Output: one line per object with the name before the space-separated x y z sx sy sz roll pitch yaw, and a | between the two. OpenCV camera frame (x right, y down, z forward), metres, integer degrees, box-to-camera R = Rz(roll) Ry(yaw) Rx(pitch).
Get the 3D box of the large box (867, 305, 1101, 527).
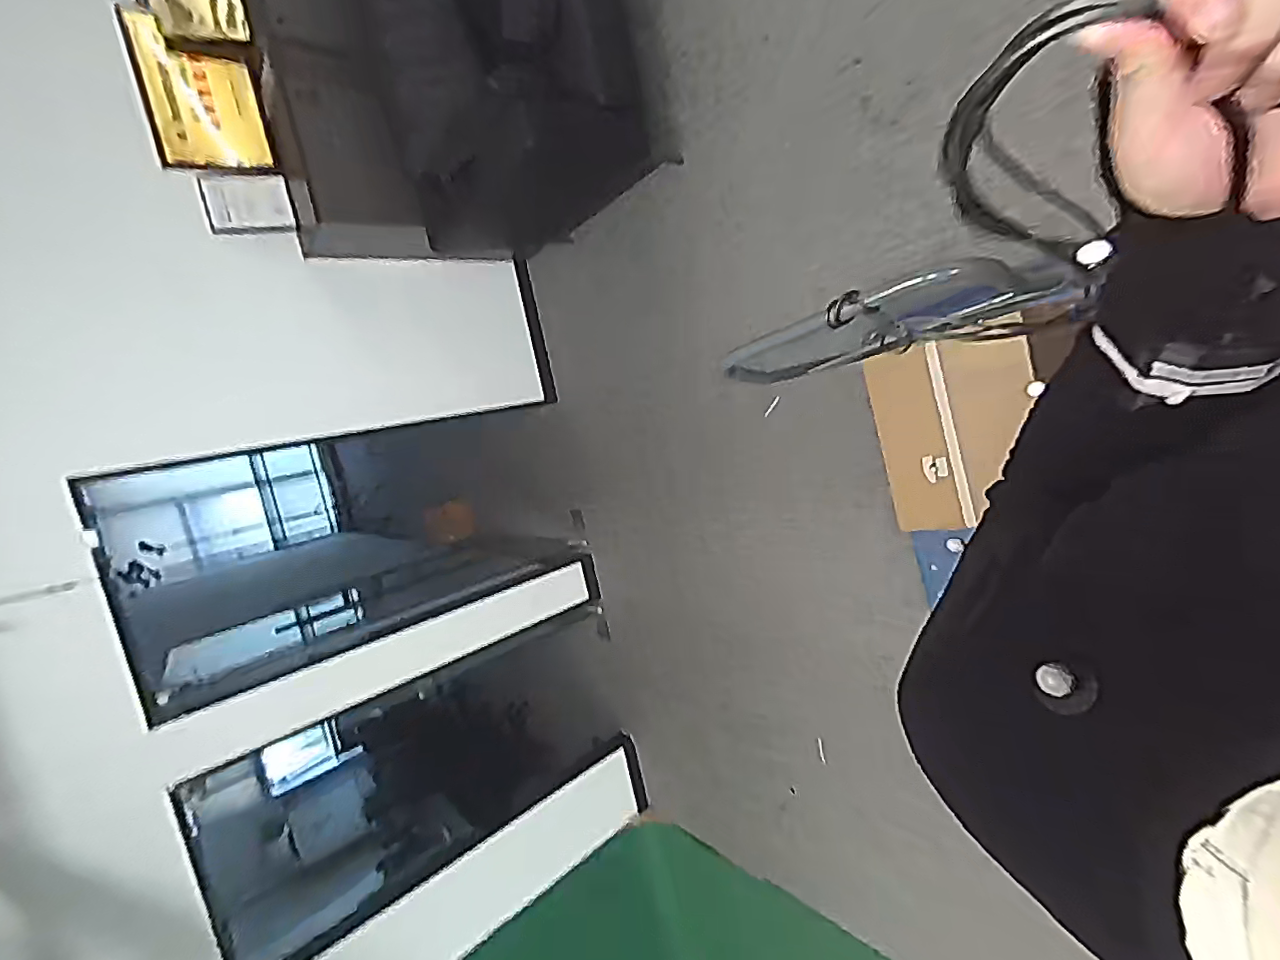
large box | 0.761 -0.137 1.197 0.320 0.320 0.408 -11 95 52
